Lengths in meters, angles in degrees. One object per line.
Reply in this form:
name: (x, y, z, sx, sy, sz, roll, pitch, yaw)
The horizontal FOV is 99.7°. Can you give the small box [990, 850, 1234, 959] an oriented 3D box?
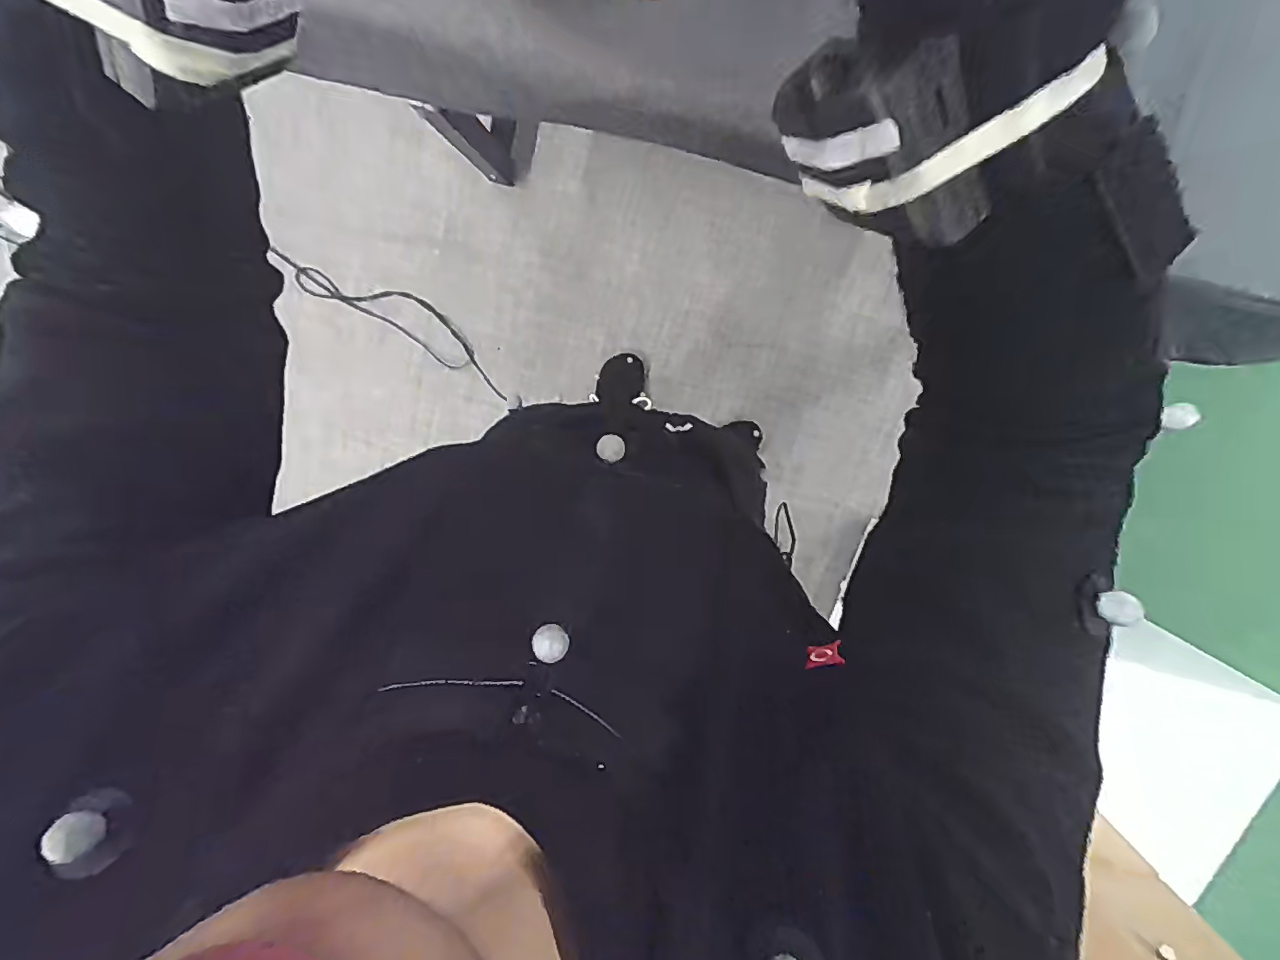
small box: (0.578, 0.596, 0.656, 0.179, 0.176, 0.168, 16, 103, -4)
